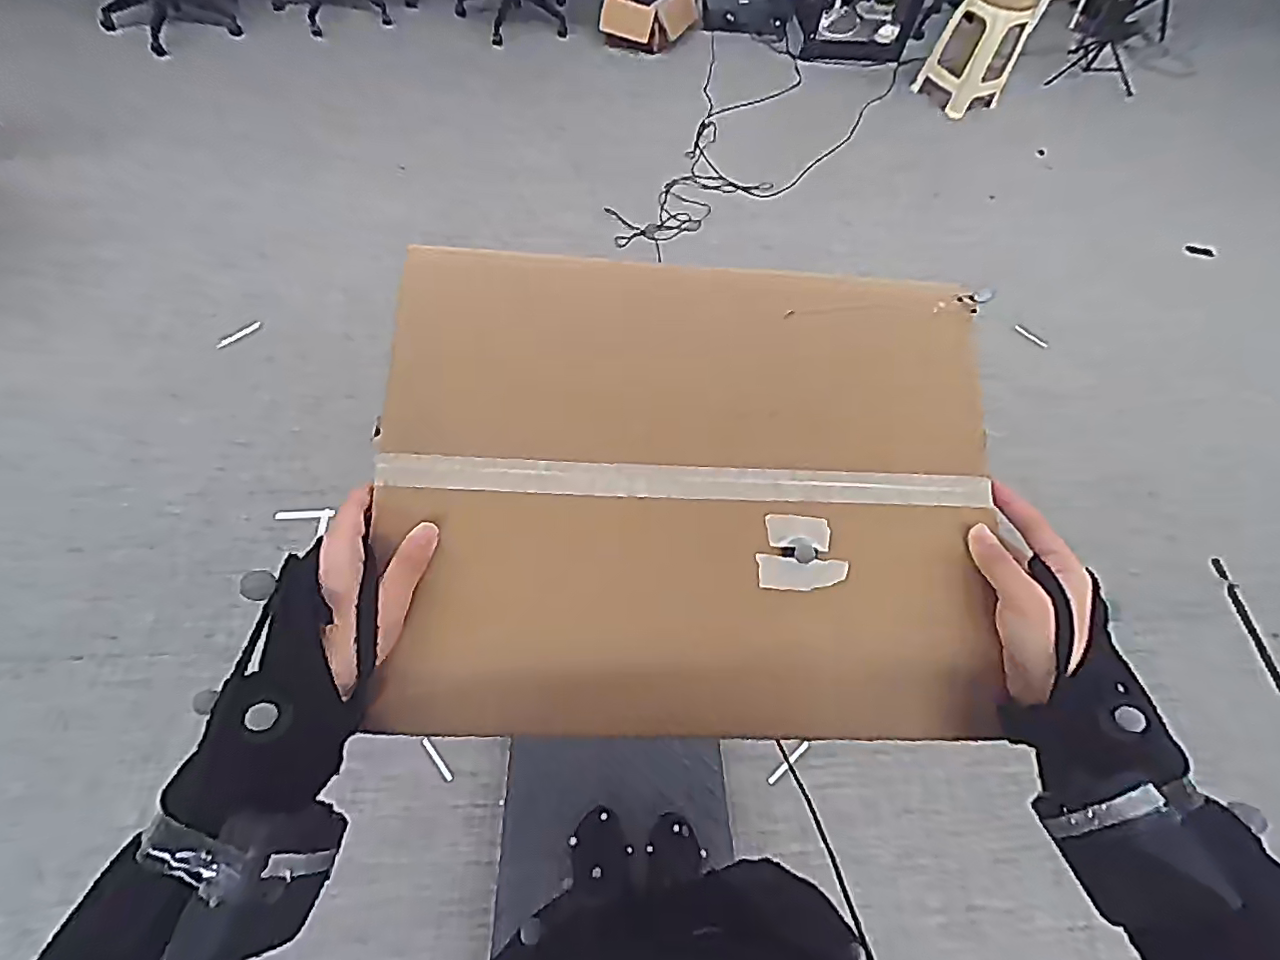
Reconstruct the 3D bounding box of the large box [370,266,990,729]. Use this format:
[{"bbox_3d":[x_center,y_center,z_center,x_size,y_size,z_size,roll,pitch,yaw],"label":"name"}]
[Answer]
[{"bbox_3d":[0.022,0.032,0.513,0.408,0.320,0.320,2,79,-4],"label":"large box"}]
